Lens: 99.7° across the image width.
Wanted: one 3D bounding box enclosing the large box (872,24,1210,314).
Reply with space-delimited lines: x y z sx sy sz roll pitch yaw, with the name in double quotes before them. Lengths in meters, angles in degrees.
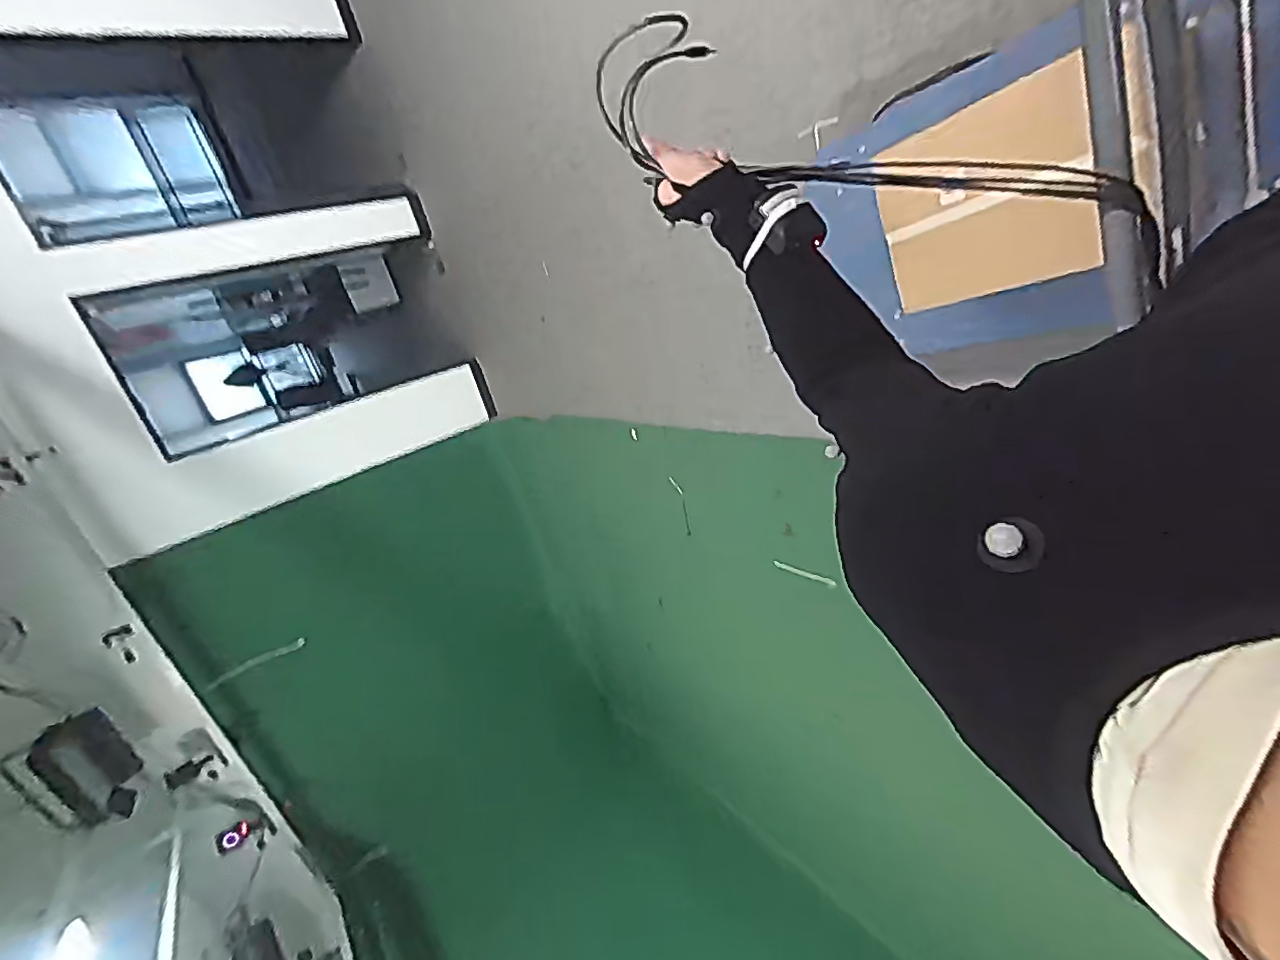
"large box" 0.729 -0.546 1.005 0.408 0.320 0.320 1 114 56
